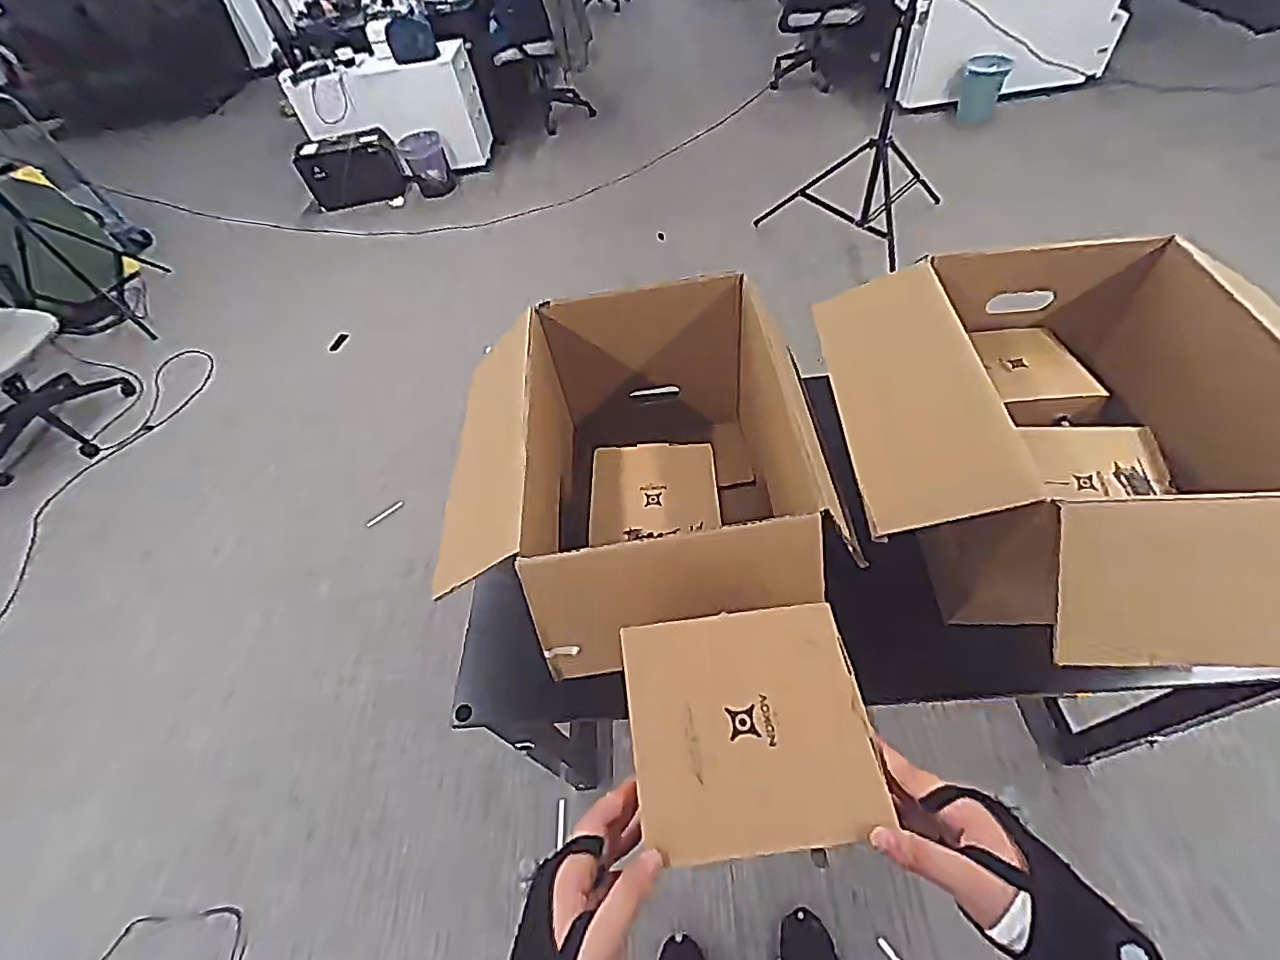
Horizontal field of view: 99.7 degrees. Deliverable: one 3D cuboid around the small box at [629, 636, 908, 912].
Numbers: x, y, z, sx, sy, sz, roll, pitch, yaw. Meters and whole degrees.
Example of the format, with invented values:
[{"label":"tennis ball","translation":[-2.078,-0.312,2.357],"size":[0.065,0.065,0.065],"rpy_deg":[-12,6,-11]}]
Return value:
[{"label":"small box","translation":[0.090,0.250,0.468],"size":[0.179,0.176,0.168],"rpy_deg":[-9,56,-1]}]
